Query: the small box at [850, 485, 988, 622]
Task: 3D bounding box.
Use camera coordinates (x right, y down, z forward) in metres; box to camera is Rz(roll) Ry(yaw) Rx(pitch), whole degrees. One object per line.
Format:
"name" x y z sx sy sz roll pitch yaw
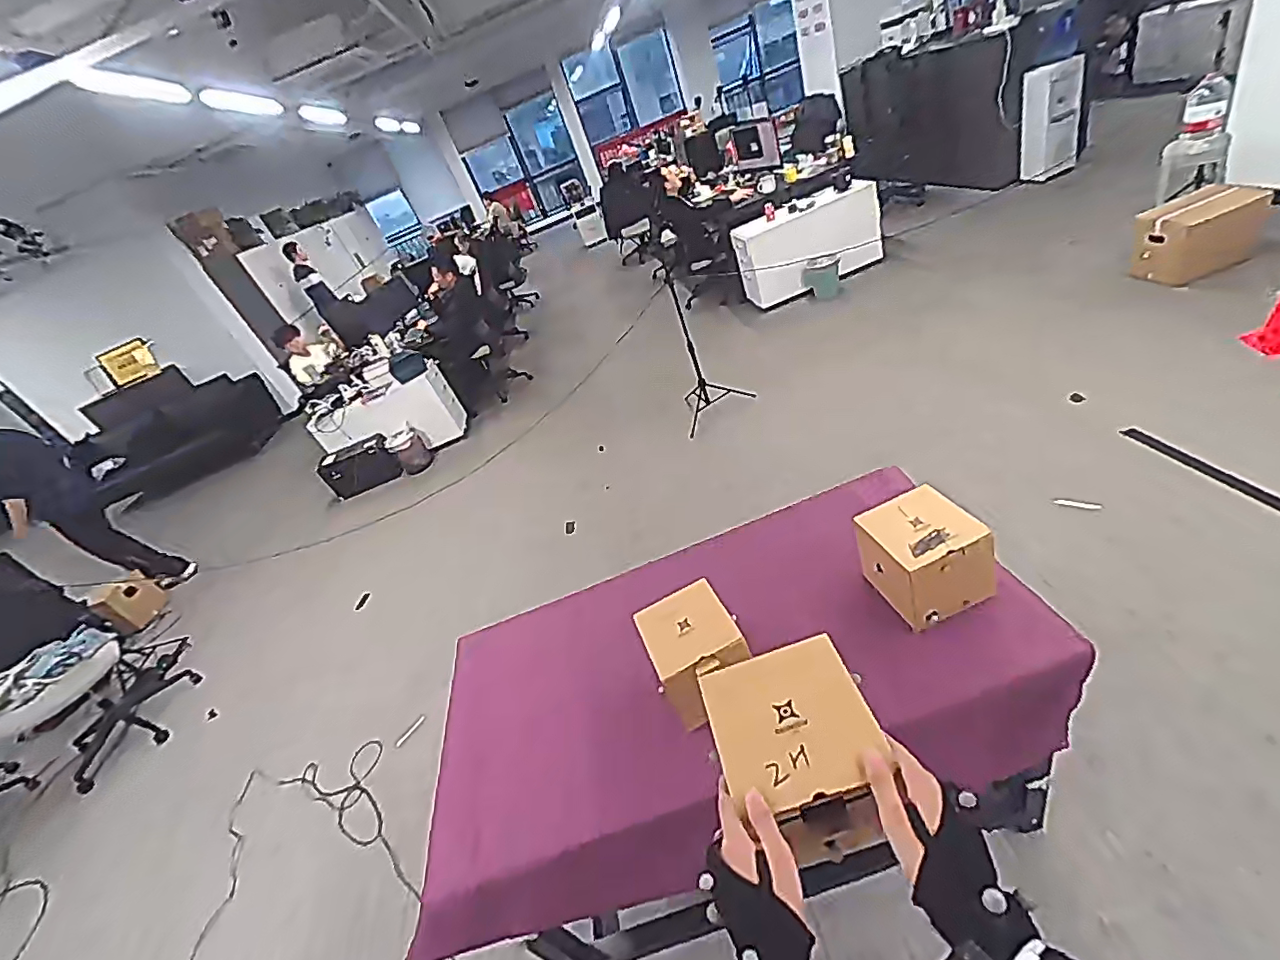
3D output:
"small box" 0.536 0.146 1.039 0.168 0.176 0.179 -25 32 -1

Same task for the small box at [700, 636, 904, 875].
"small box" 0.184 0.321 0.633 0.168 0.176 0.179 -21 39 4

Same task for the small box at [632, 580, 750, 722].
"small box" 0.109 0.336 1.048 0.168 0.176 0.179 -27 33 -5
